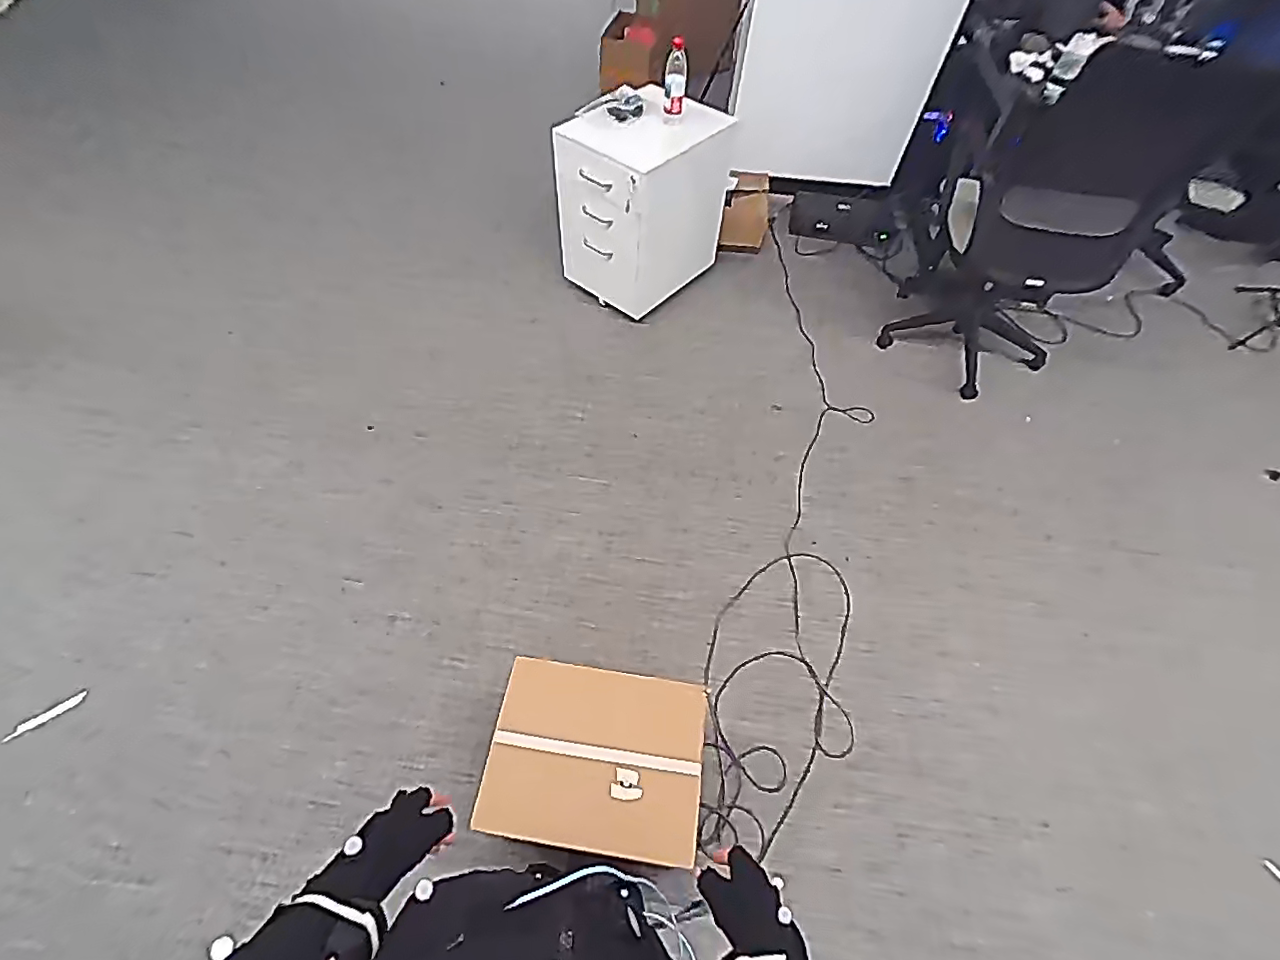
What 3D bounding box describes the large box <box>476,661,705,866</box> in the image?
[{"bbox_3d":[-0.089,0.615,1.164,0.408,0.320,0.320,8,56,3],"label":"large box"}]
